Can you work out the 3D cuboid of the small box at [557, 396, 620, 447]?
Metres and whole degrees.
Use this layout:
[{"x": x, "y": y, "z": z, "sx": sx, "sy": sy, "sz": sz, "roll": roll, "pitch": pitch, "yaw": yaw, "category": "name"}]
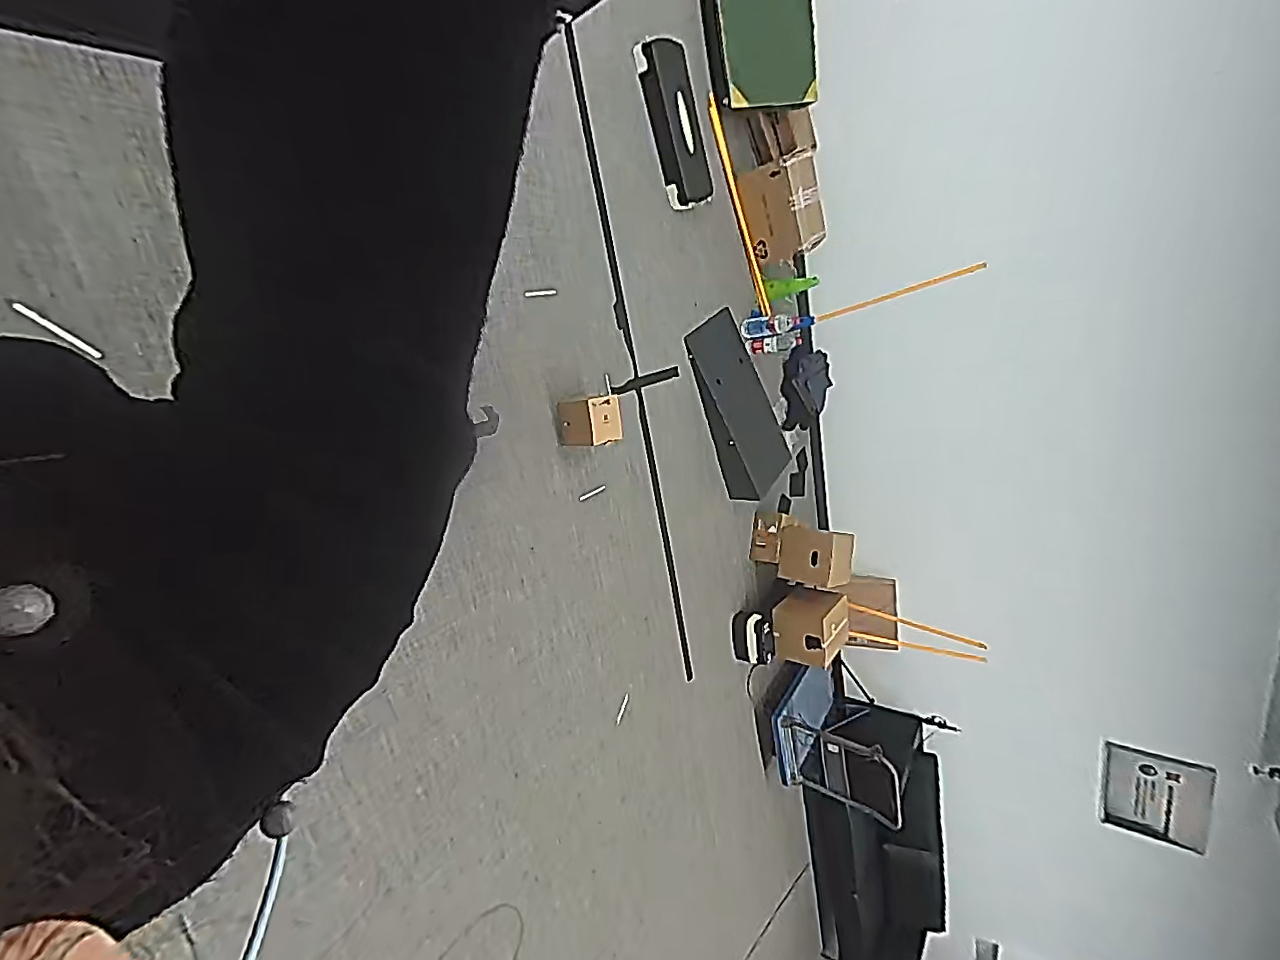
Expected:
[{"x": -0.200, "y": -0.229, "z": 2.084, "sx": 0.168, "sy": 0.176, "sz": 0.179, "roll": -21, "pitch": 109, "yaw": -49, "category": "small box"}]
